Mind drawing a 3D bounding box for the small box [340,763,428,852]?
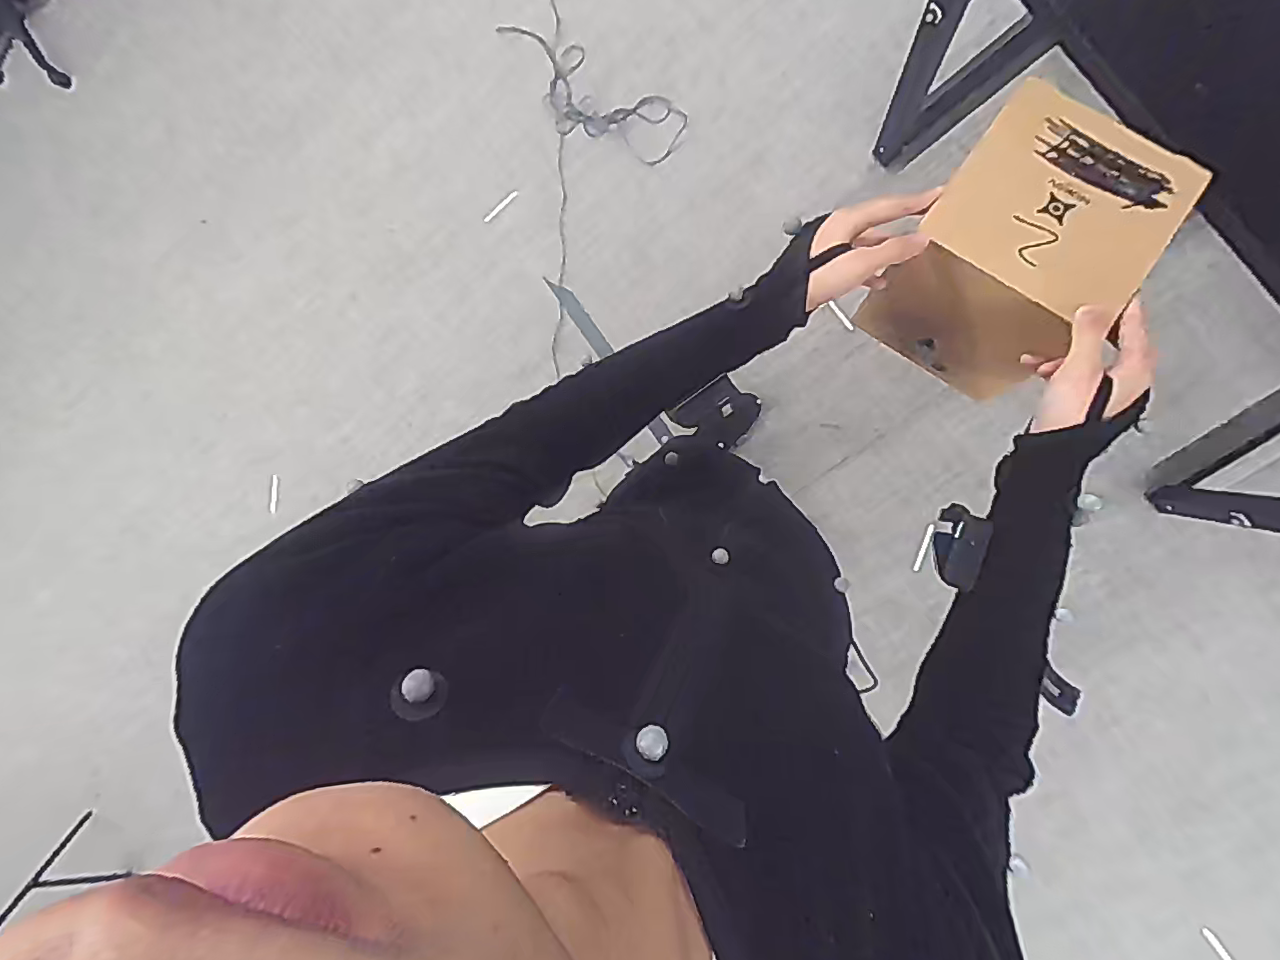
[{"bbox_3d":[-0.870,1.115,1.850,0.179,0.176,0.168,-32,86,13],"label":"small box"}]
